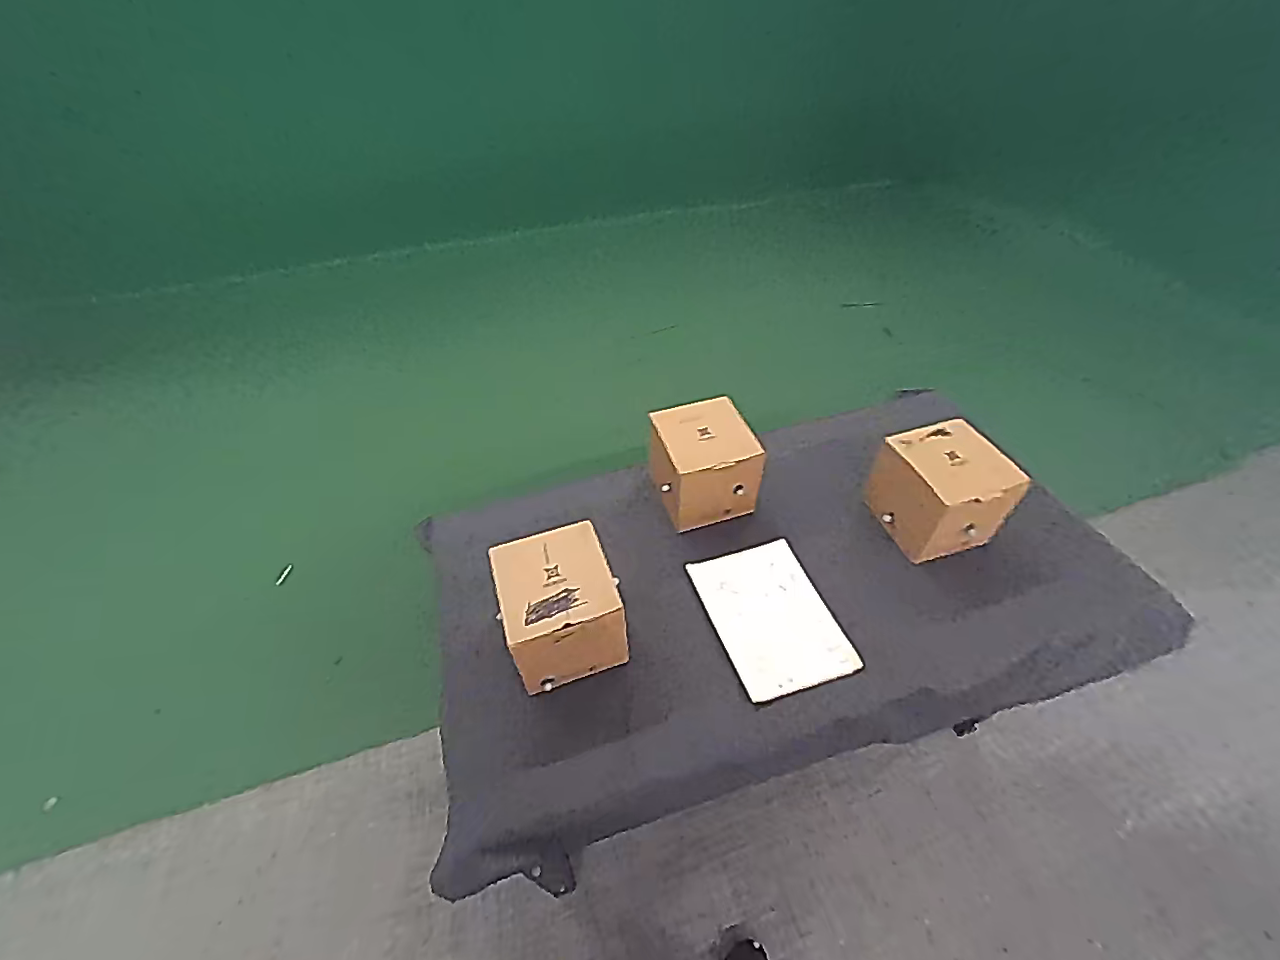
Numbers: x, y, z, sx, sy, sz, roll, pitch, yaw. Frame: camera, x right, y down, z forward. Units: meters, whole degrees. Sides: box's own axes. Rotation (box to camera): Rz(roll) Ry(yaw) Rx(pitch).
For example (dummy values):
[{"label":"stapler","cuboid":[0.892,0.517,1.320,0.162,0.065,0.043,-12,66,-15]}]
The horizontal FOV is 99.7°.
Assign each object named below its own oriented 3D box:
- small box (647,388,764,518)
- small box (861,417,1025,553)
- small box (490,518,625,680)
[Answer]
[{"label":"small box","cuboid":[0.119,-0.046,1.048,0.168,0.176,0.179,-14,49,-12]},{"label":"small box","cuboid":[0.544,0.016,0.999,0.168,0.176,0.179,-14,50,-11]},{"label":"small box","cuboid":[-0.126,0.195,0.856,0.168,0.176,0.179,-15,49,-13]}]
